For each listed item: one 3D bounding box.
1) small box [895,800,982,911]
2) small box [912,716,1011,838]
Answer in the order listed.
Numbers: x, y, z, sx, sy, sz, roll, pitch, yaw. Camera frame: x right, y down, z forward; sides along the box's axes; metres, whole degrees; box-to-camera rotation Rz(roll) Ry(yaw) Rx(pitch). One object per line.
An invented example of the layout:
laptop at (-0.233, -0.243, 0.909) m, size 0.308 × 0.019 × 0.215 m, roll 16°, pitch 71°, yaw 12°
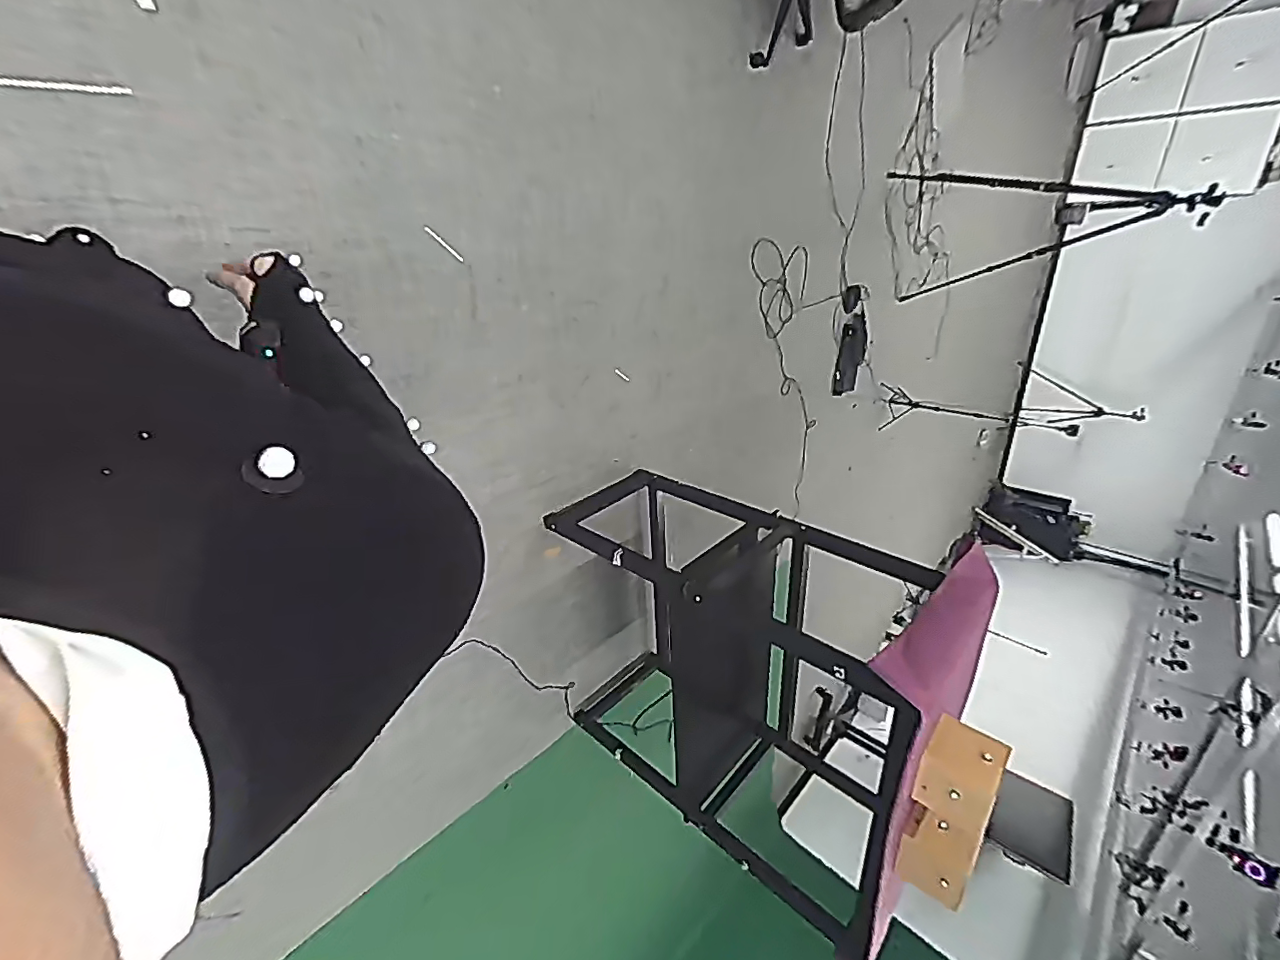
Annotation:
small box at (0.835, 1.034, 1.517) m, size 0.168 × 0.176 × 0.179 m, roll -26°, pitch 123°, yaw -40°
small box at (0.821, 0.753, 1.389) m, size 0.179 × 0.176 × 0.168 m, roll -27°, pitch 124°, yaw -41°
